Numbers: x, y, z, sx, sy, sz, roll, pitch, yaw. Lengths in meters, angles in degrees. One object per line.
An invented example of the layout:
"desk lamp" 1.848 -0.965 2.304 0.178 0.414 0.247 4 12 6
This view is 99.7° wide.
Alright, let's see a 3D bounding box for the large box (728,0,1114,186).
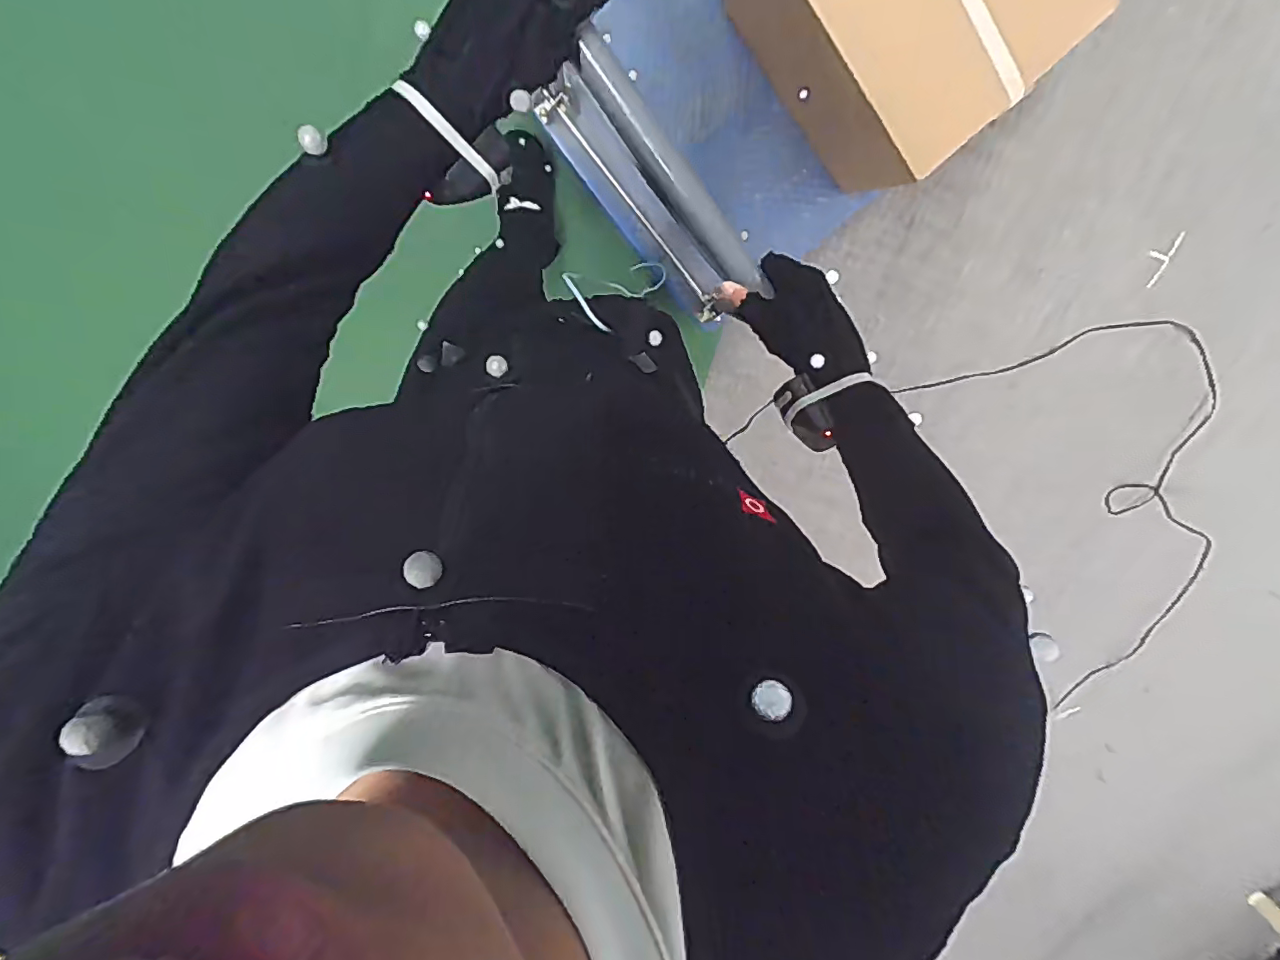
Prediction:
"large box" 0.396 -0.743 0.842 0.320 0.320 0.408 -40 109 16
